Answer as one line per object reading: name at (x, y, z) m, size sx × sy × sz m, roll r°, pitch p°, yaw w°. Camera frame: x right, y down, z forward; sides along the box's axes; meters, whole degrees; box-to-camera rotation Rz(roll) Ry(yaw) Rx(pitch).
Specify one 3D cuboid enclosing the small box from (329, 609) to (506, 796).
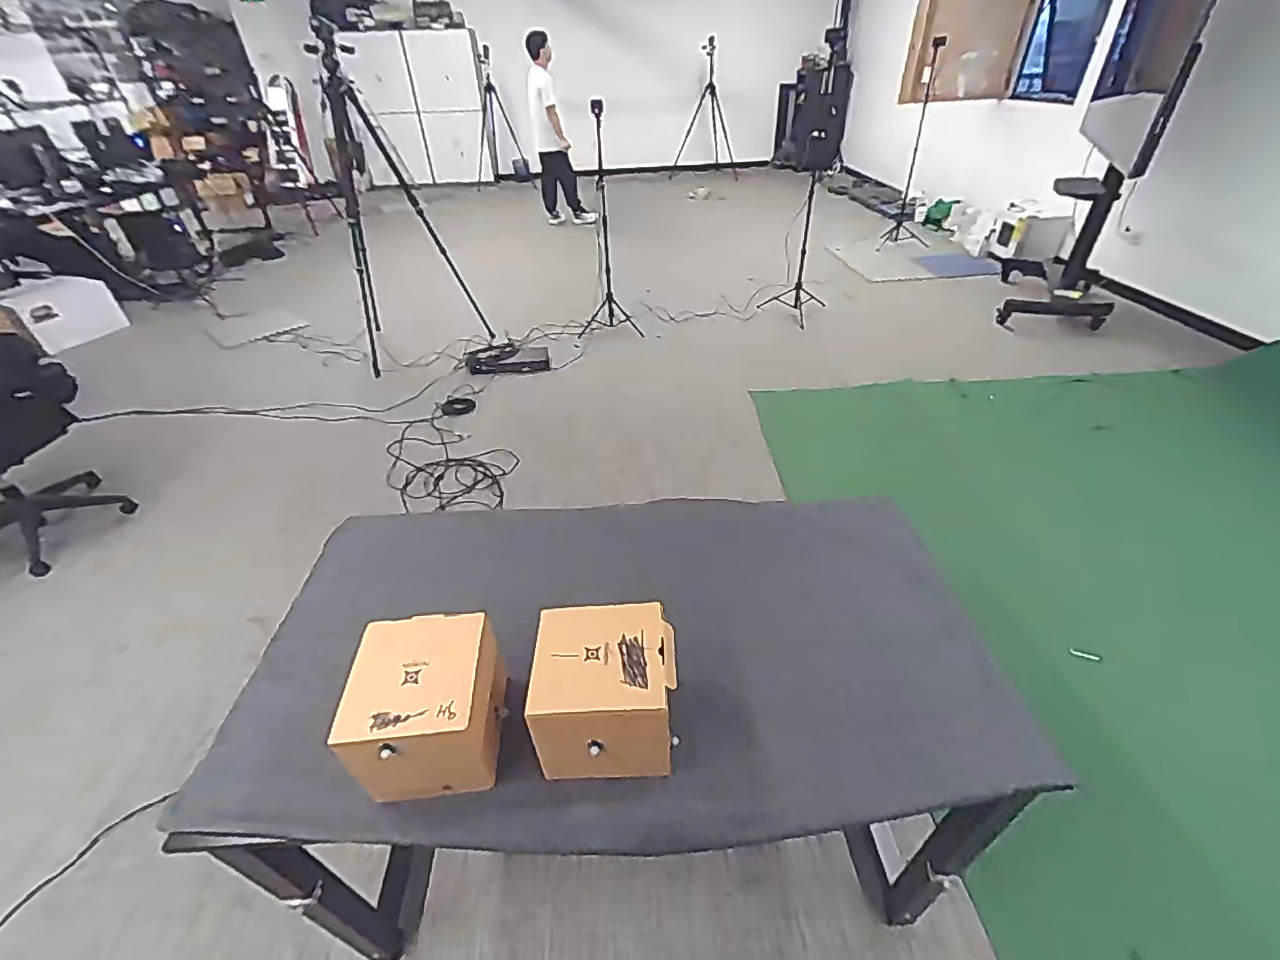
small box at (-0.289, 0.307, 0.753) m, size 0.168 × 0.176 × 0.179 m, roll -5°, pitch 38°, yaw -2°
